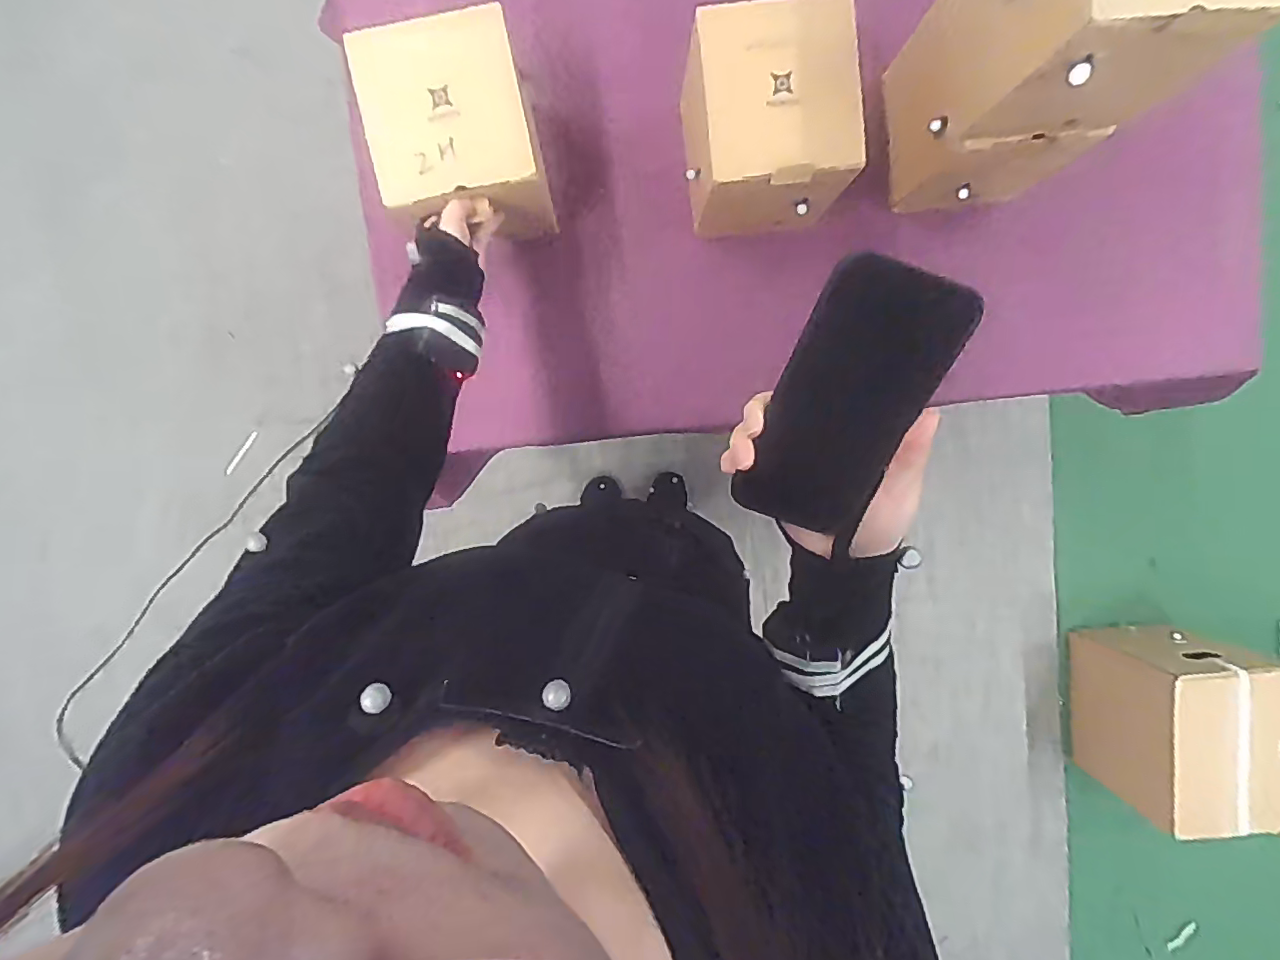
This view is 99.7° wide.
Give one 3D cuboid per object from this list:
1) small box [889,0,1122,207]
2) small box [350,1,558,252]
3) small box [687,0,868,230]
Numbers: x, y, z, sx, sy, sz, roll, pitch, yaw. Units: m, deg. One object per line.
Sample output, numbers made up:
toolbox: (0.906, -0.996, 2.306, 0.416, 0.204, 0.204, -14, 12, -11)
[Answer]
small box: (0.413, -0.451, 0.638, 0.168, 0.176, 0.179, -6, 97, 0)
small box: (-0.201, -0.395, 0.635, 0.168, 0.176, 0.179, -11, 96, 1)
small box: (0.151, -0.413, 0.640, 0.168, 0.176, 0.179, -7, 95, -1)
